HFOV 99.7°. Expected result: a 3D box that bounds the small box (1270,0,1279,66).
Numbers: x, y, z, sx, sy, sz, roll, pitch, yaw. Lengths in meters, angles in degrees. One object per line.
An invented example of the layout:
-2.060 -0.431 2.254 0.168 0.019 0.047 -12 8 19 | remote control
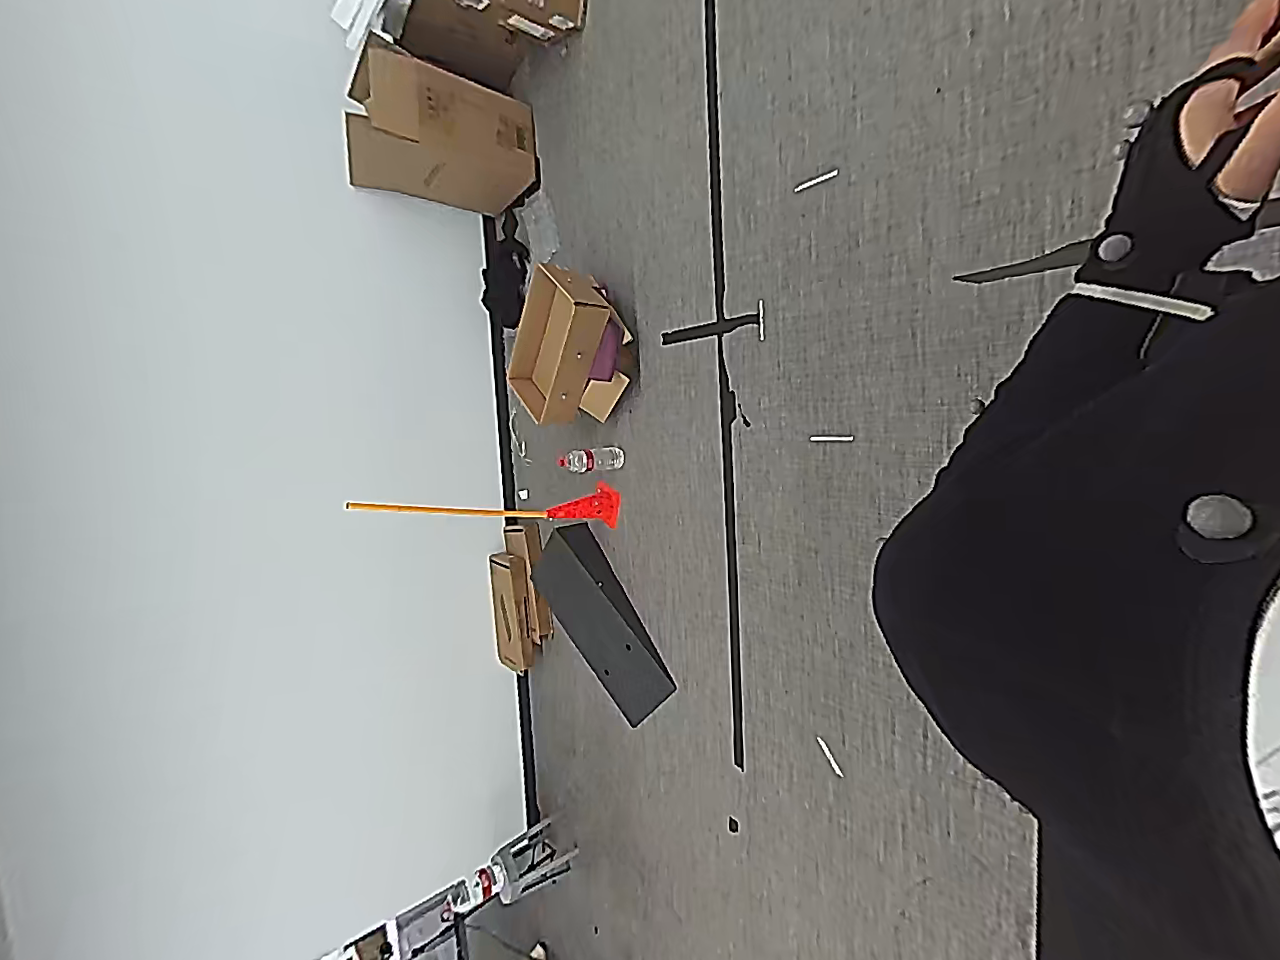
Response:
0.462 -0.319 0.271 0.179 0.176 0.168 7 109 49 | small box
